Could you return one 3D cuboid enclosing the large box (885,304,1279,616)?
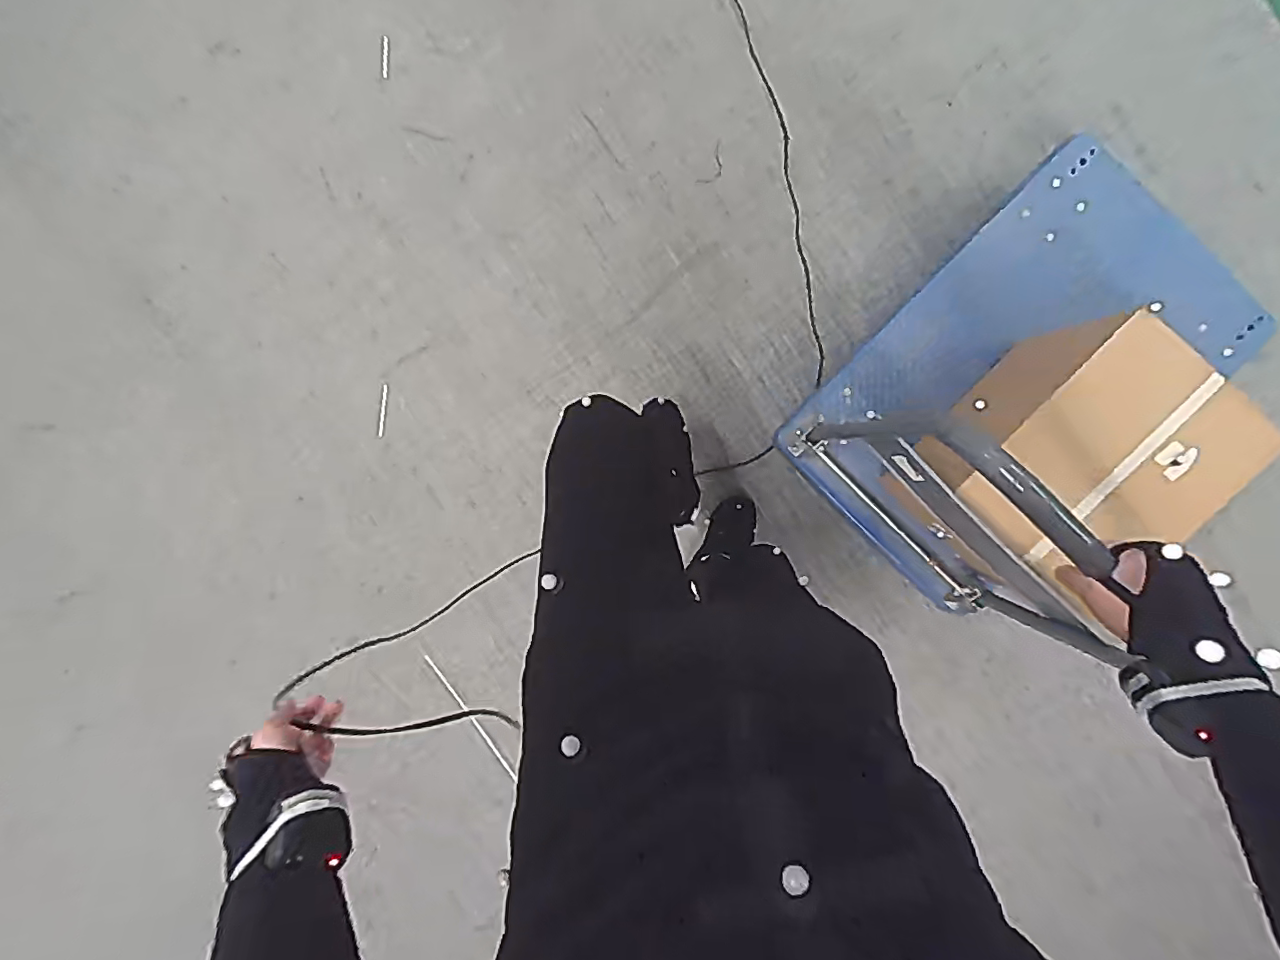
[{"bbox_3d":[0.751,-0.034,0.996,0.320,0.320,0.408,42,96,-1],"label":"large box"}]
